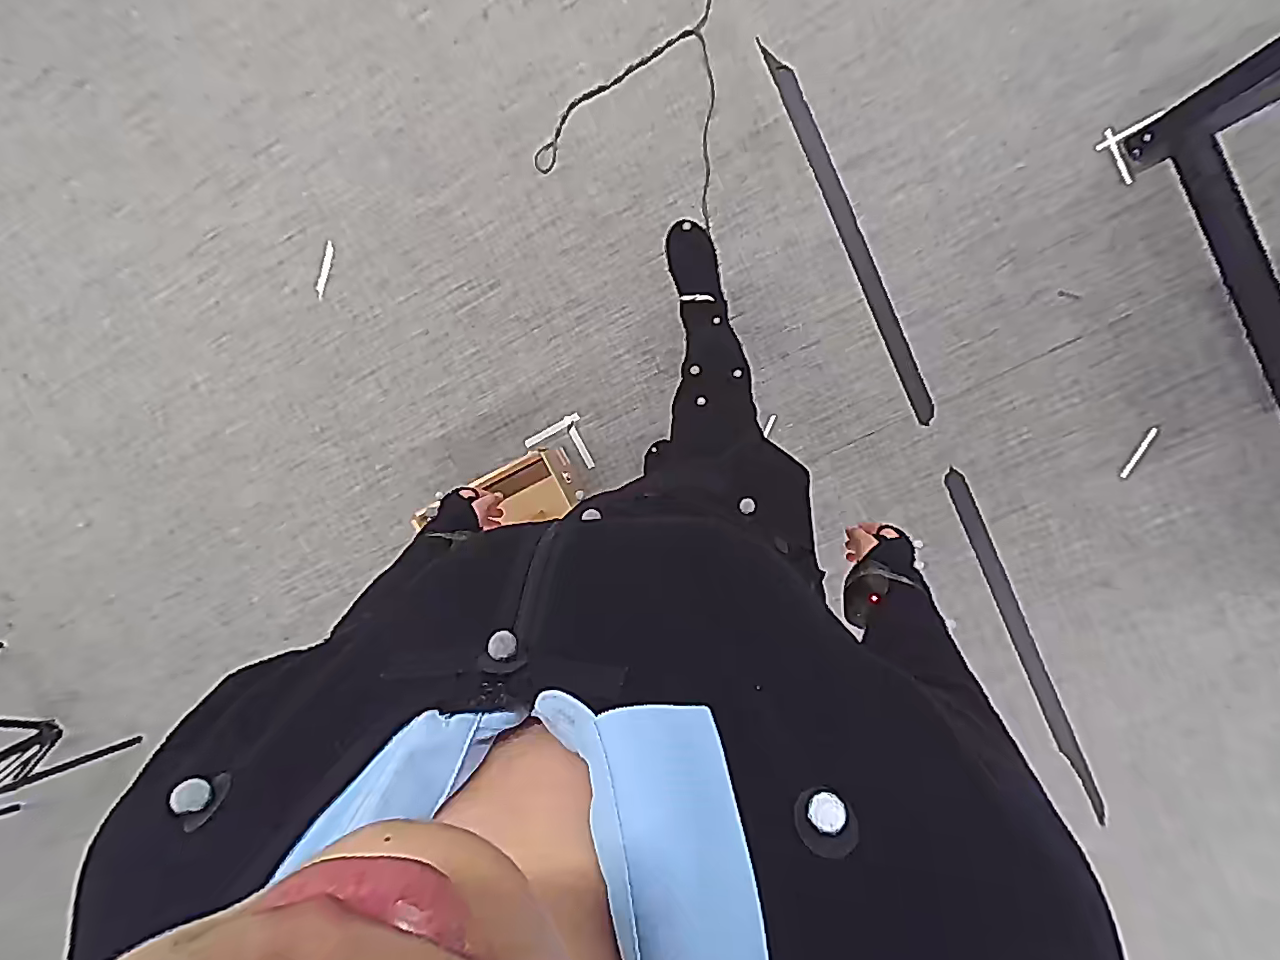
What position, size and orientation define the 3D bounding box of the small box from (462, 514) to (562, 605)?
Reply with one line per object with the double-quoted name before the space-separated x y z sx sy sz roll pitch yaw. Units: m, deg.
"small box" -0.330 0.204 1.427 0.179 0.176 0.168 -21 95 8
